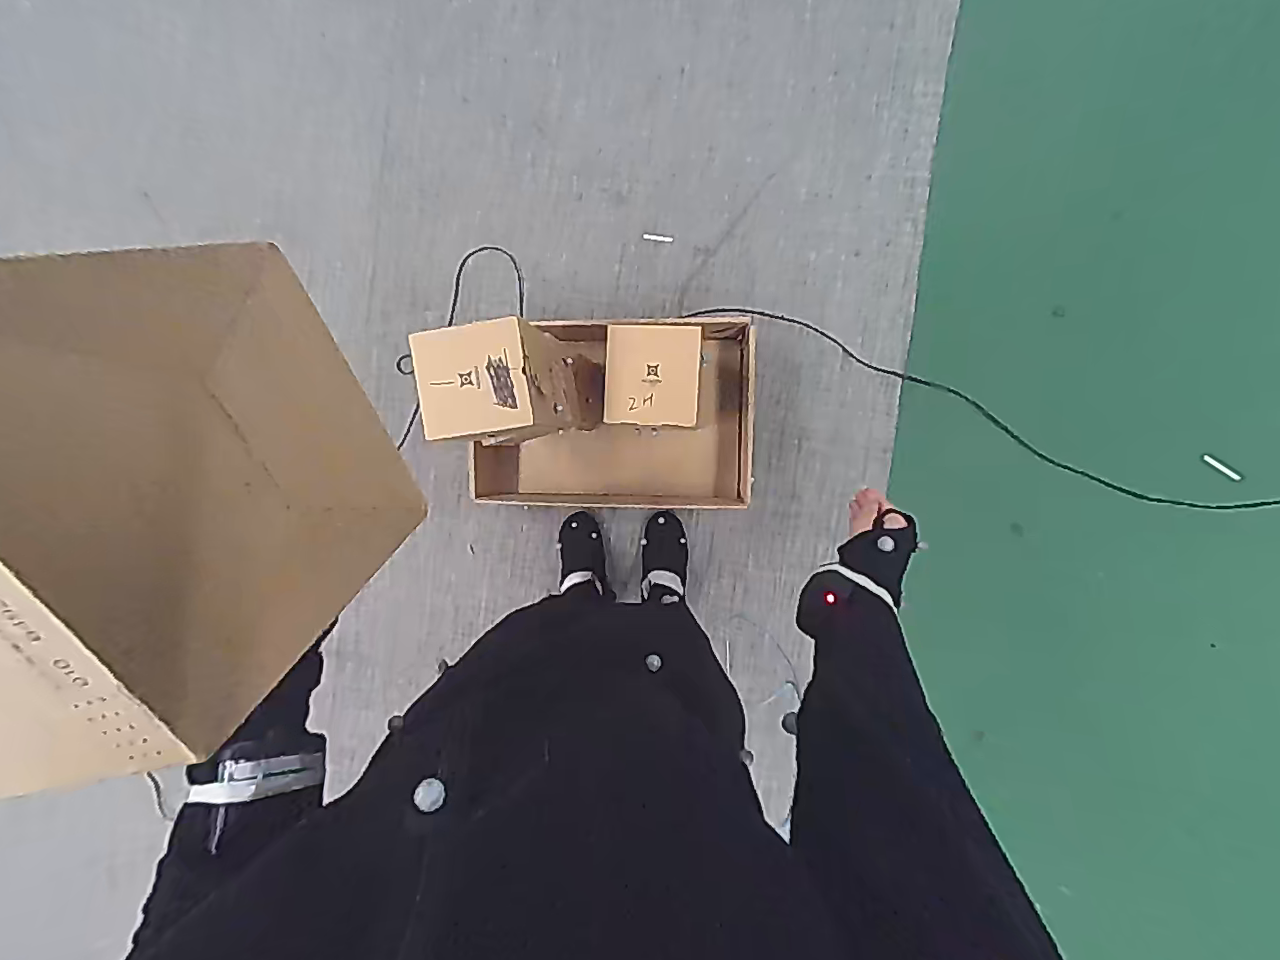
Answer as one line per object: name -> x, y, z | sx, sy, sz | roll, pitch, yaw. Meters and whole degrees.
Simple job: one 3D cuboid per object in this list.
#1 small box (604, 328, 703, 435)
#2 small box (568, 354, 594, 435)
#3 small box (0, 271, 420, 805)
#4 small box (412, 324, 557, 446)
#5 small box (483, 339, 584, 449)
small box -> 0.032, -0.179, 1.022 | 0.168, 0.176, 0.179 | 4, 94, 8
small box -> -0.207, -0.188, 1.218 | 0.179, 0.176, 0.168 | 2, 94, 5
small box -> -0.244, 0.017, 0.252 | 0.176, 0.179, 0.168 | -15, 114, 14
small box -> -0.244, -0.150, 0.895 | 0.179, 0.176, 0.168 | -8, 93, 7
small box -> -0.215, -0.162, 1.057 | 0.179, 0.176, 0.168 | -15, 92, 7
